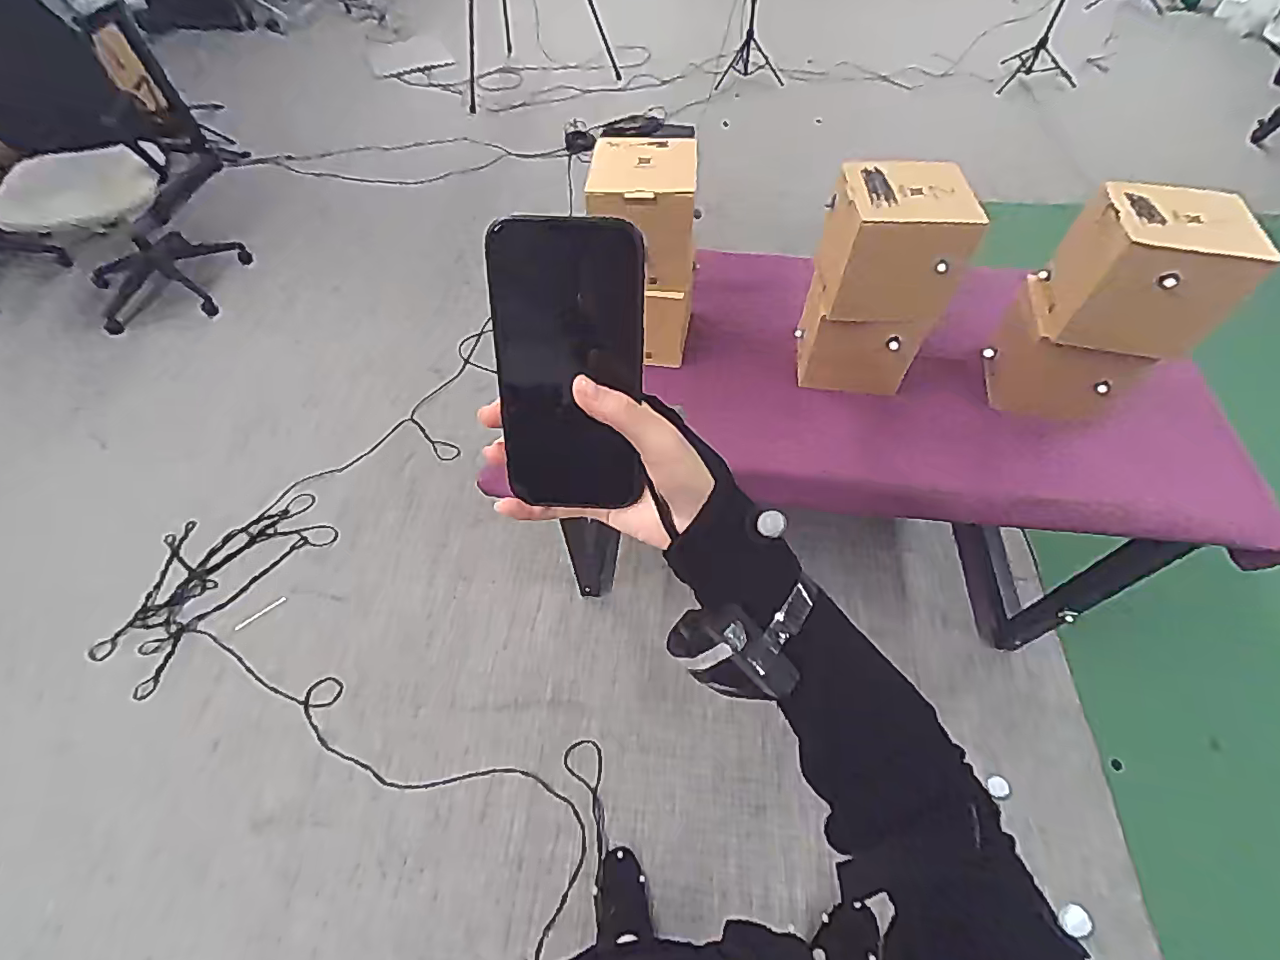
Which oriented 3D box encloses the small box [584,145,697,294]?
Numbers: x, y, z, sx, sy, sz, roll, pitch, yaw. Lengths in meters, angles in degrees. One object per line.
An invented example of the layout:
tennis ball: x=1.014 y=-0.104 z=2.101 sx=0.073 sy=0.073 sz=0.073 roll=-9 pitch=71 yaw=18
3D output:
small box: x=0.008 y=-0.432 z=0.905 sx=0.168 sy=0.176 sz=0.179 roll=3 pitch=56 yaw=3

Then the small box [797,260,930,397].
small box: x=0.392 y=-0.269 z=0.979 sx=0.179 sy=0.176 sz=0.168 roll=7 pitch=55 yaw=6

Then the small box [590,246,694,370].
small box: x=0.011 y=-0.331 z=1.035 sx=0.168 sy=0.176 sz=0.179 roll=7 pitch=56 yaw=7

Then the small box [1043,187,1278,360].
small box: x=0.728 y=-0.298 z=0.791 sx=0.179 sy=0.176 sz=0.168 roll=12 pitch=56 yaw=9

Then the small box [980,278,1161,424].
small box: x=0.726 y=-0.217 z=0.934 sx=0.179 sy=0.176 sz=0.168 roll=12 pitch=56 yaw=10
